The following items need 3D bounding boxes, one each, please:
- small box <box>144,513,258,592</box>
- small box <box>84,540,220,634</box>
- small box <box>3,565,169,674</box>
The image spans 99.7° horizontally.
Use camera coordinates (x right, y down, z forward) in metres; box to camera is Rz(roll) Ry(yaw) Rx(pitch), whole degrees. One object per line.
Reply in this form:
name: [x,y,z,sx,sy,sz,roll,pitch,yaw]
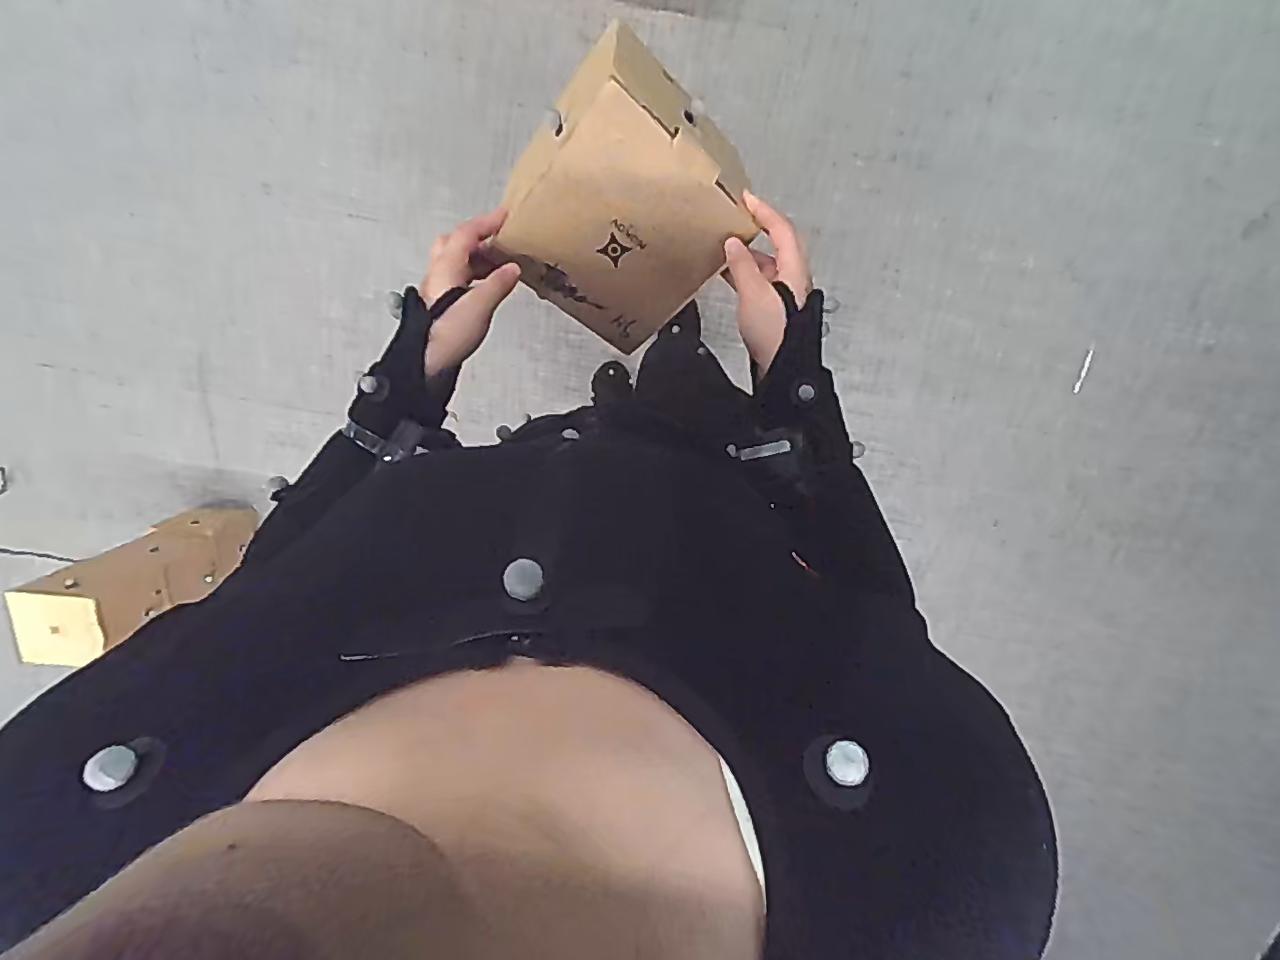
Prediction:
small box: [-1.188,0.195,1.483,0.179,0.176,0.168,2,105,1]
small box: [-1.189,0.257,1.330,0.179,0.176,0.168,5,106,-1]
small box: [-1.186,0.295,1.172,0.179,0.176,0.168,4,106,-1]
